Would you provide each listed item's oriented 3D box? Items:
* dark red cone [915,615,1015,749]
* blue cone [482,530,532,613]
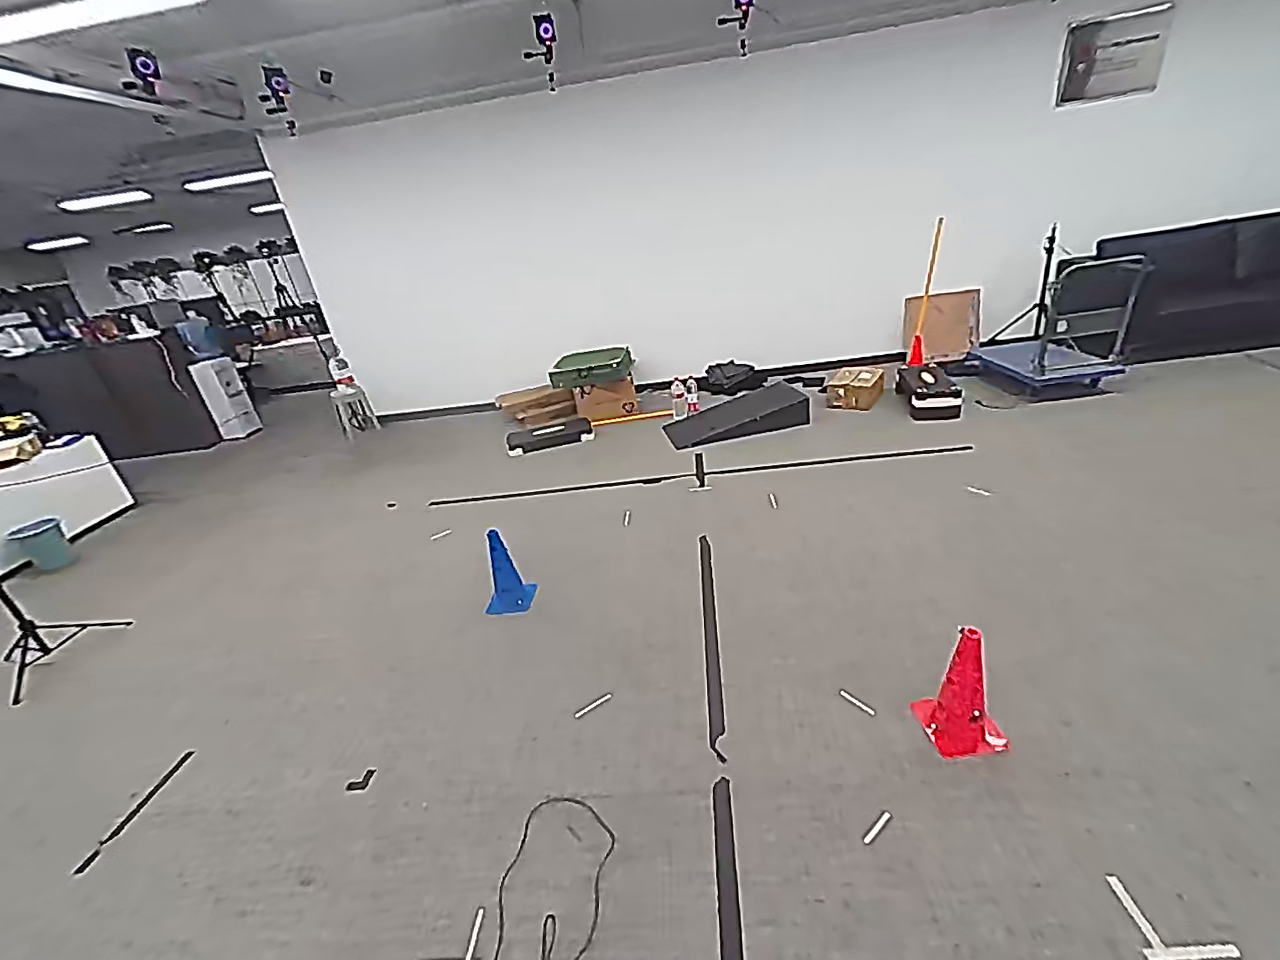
[{"bbox_3d":[0.905,0.533,1.489,0.201,0.394,0.202,-10,25,0],"label":"dark red cone"},{"bbox_3d":[-0.615,0.386,2.365,0.192,0.380,0.193,-6,25,8],"label":"blue cone"}]
